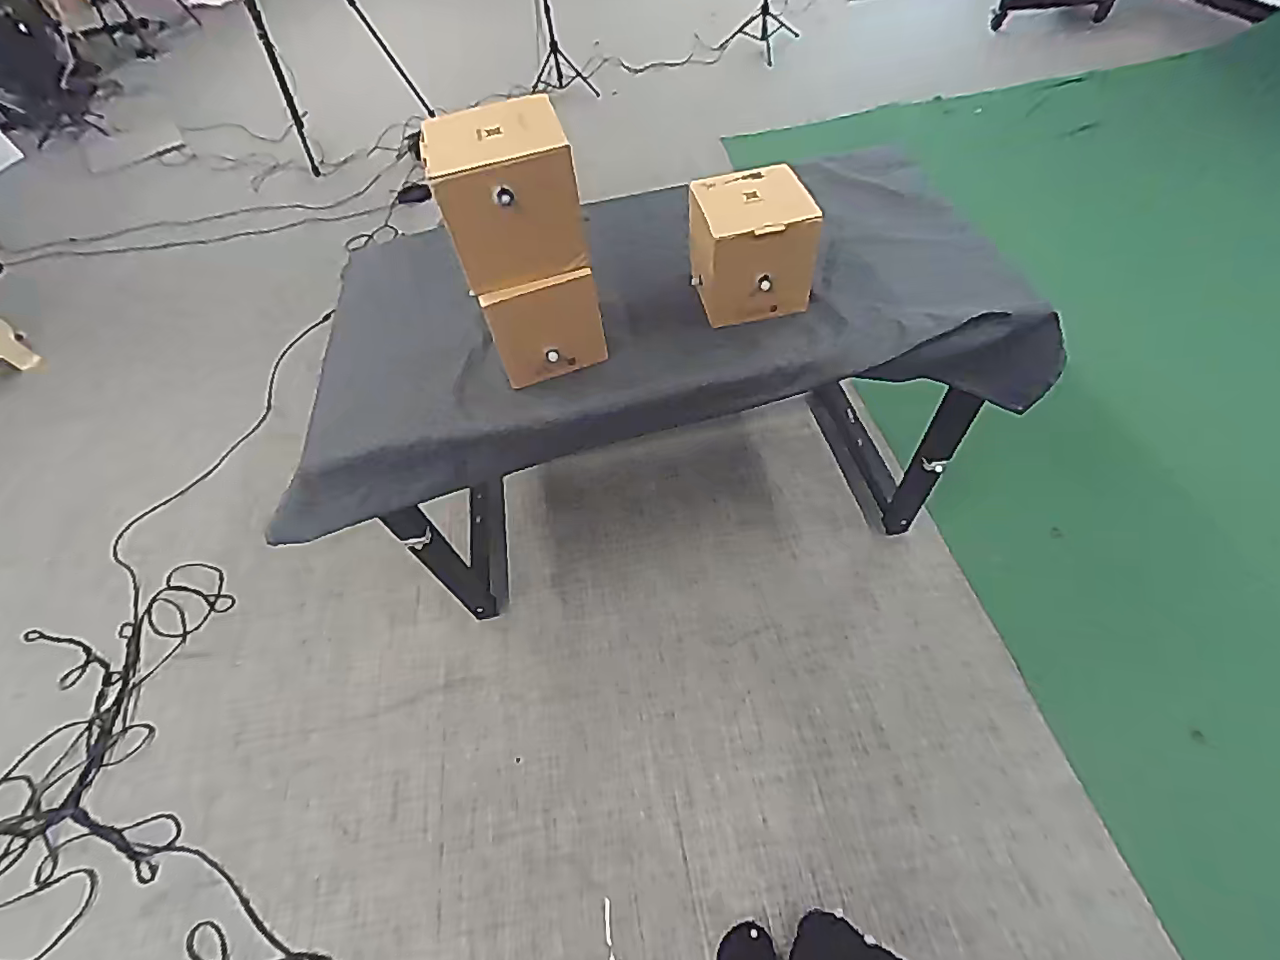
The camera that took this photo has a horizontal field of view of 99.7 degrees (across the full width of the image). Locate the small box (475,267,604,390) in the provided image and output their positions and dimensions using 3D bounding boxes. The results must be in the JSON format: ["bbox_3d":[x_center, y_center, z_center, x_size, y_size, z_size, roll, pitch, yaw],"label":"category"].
[{"bbox_3d":[-0.167,-0.278,0.874,0.168,0.176,0.179,-20,56,-7],"label":"small box"}]

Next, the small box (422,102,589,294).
[{"bbox_3d":[-0.182,-0.384,0.751,0.179,0.176,0.168,-16,56,-6],"label":"small box"}]

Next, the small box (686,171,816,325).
[{"bbox_3d":[0.177,-0.379,0.906,0.168,0.176,0.179,-11,55,-1],"label":"small box"}]
